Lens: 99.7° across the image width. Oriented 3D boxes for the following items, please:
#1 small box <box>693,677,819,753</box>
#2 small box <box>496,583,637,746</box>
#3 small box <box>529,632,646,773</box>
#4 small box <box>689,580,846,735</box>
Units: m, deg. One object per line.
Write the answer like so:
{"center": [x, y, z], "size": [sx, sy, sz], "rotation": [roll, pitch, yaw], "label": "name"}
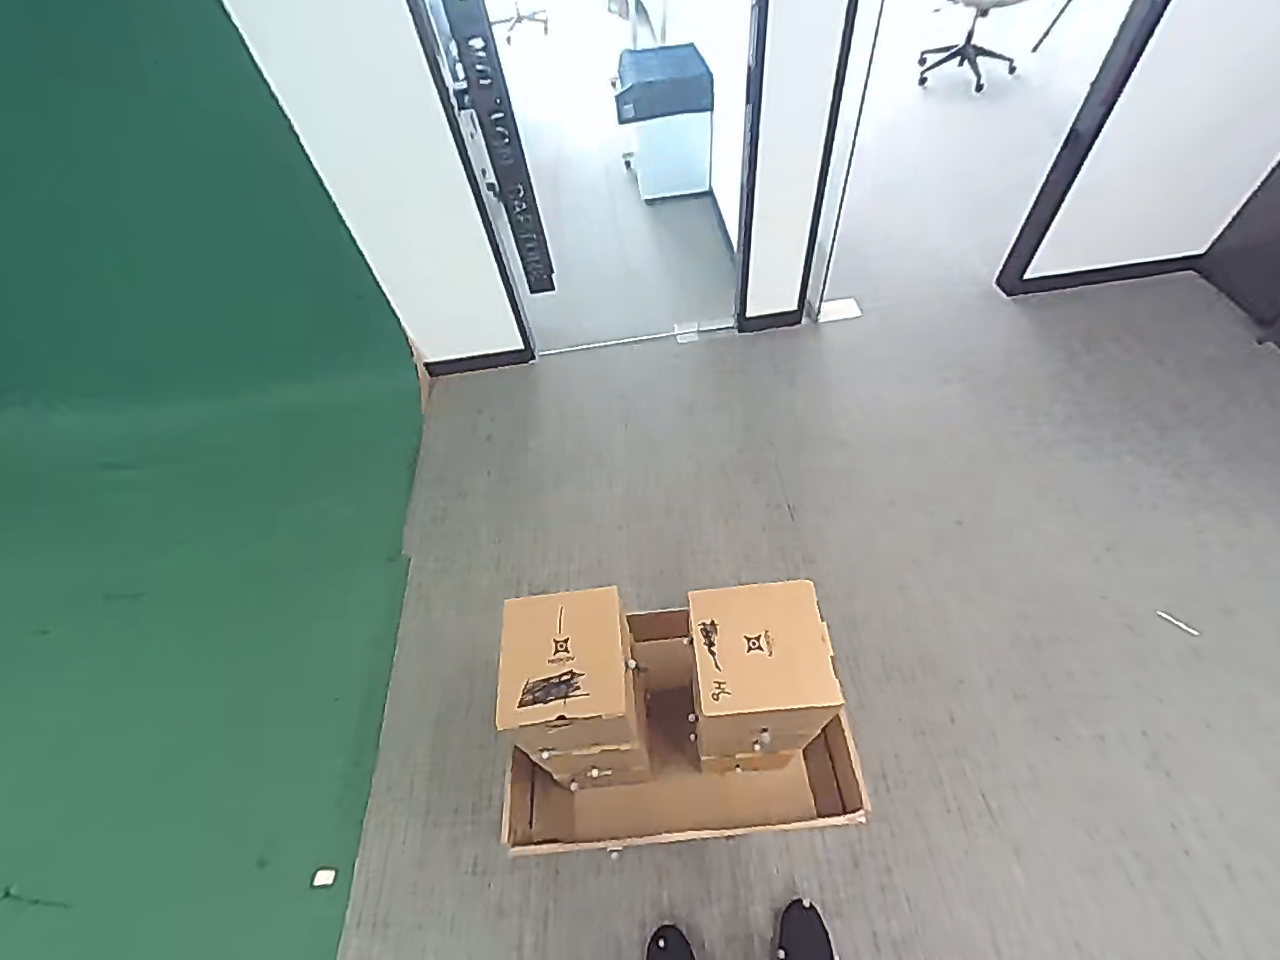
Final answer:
{"center": [0.179, 0.348, 0.897], "size": [0.179, 0.176, 0.168], "rotation": [-4, 55, 2], "label": "small box"}
{"center": [-0.097, 0.270, 0.773], "size": [0.168, 0.176, 0.179], "rotation": [-7, 53, 0], "label": "small box"}
{"center": [-0.080, 0.372, 0.901], "size": [0.168, 0.176, 0.179], "rotation": [-5, 53, 2], "label": "small box"}
{"center": [0.165, 0.255, 0.764], "size": [0.179, 0.176, 0.168], "rotation": [-5, 55, 1], "label": "small box"}
